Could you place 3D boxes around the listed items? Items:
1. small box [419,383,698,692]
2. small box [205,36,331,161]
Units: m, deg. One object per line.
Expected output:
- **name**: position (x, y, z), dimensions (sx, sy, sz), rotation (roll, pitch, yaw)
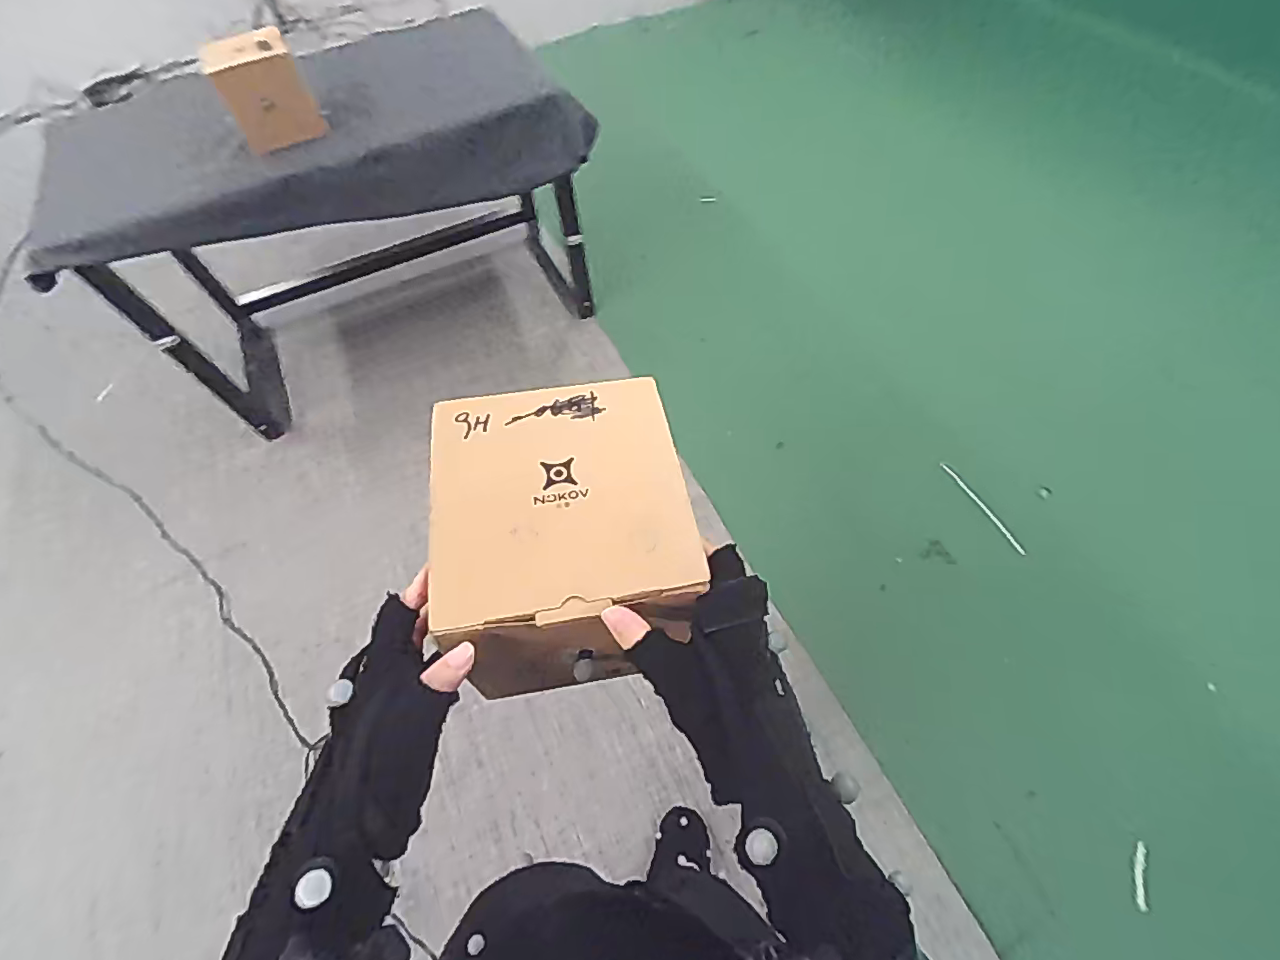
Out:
- **small box**: position (-0.061, 0.054, 0.420), dimensions (0.168, 0.176, 0.179), rotation (-9, 57, -8)
- **small box**: position (-0.847, -0.878, 1.249), dimensions (0.179, 0.176, 0.168), rotation (-28, 61, -14)
